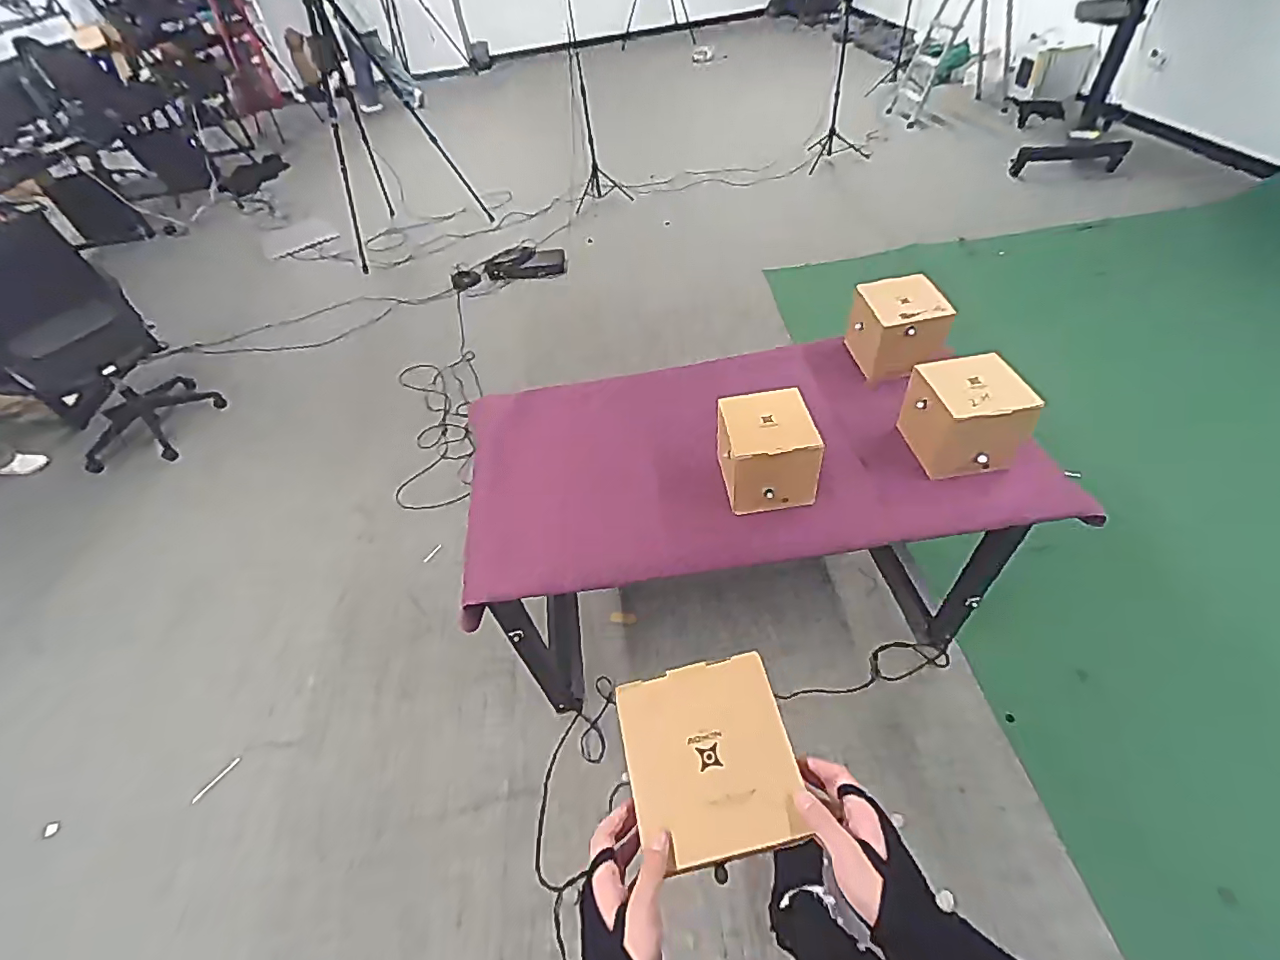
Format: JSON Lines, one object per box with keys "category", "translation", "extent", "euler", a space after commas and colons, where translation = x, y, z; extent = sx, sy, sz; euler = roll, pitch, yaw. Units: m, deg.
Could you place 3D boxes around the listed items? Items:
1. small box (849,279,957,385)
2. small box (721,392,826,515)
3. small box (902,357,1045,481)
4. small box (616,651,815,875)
{"category": "small box", "translation": [0.624, -0.357, 1.312], "extent": [0.168, 0.176, 0.179], "euler": [-10, 49, 2]}
{"category": "small box", "translation": [0.259, -0.052, 1.100], "extent": [0.168, 0.176, 0.179], "euler": [-8, 47, 1]}
{"category": "small box", "translation": [0.657, -0.122, 1.096], "extent": [0.168, 0.176, 0.179], "euler": [-9, 47, 3]}
{"category": "small box", "translation": [0.076, 0.320, 0.607], "extent": [0.168, 0.176, 0.179], "euler": [-14, 53, -1]}
